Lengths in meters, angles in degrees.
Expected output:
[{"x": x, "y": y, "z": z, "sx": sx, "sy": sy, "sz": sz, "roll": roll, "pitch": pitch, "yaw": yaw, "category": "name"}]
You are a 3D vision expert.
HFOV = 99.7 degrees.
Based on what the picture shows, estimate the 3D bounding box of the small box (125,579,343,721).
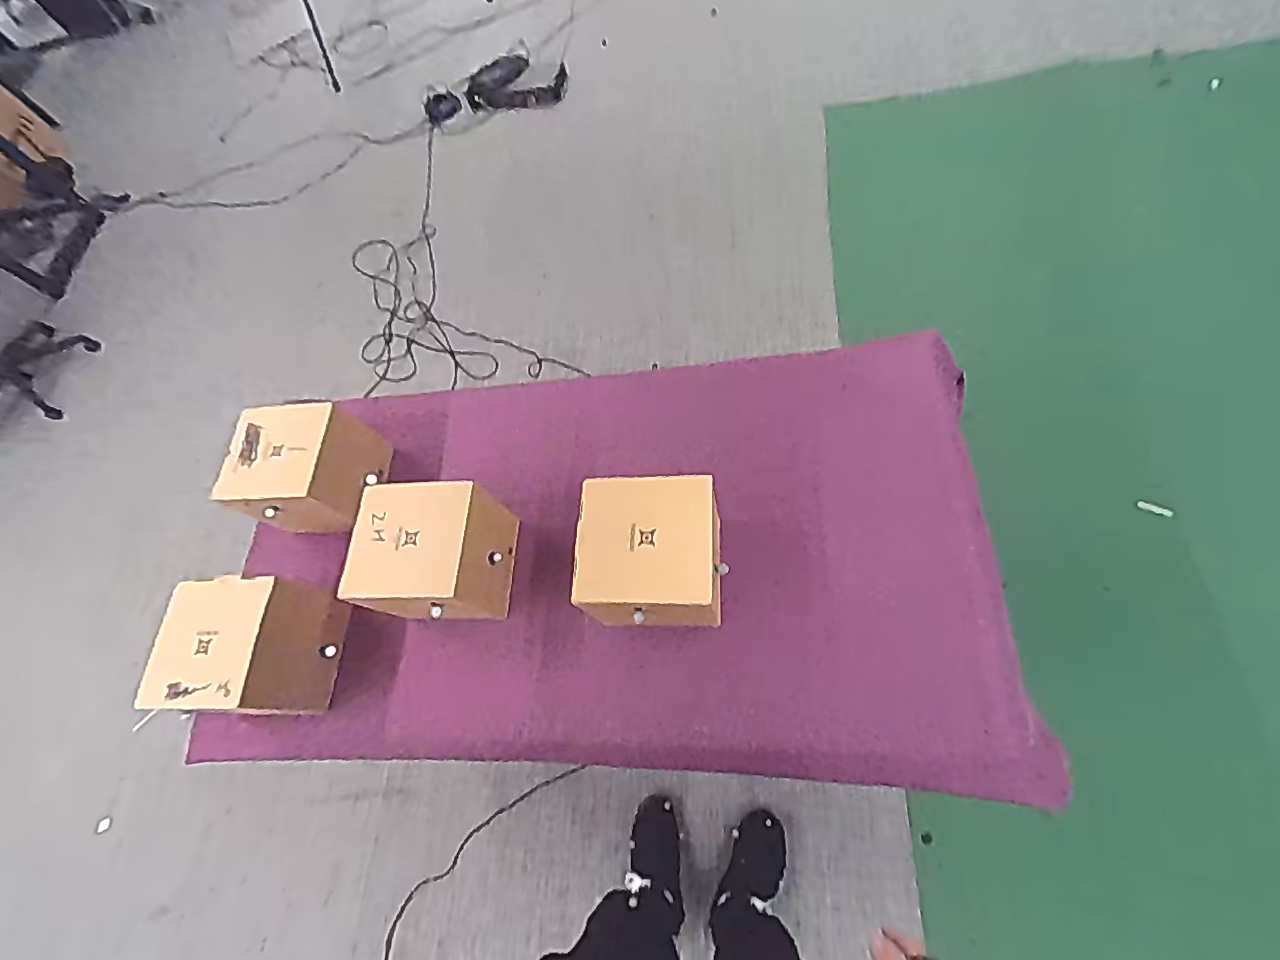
[{"x": -0.577, "y": 0.255, "z": 0.798, "sx": 0.168, "sy": 0.176, "sz": 0.179, "roll": -4, "pitch": 64, "yaw": 11, "category": "small box"}]

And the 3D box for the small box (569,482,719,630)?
[{"x": 0.018, "y": 0.110, "z": 0.742, "sx": 0.179, "sy": 0.176, "sz": 0.168, "roll": -2, "pitch": 67, "yaw": 12, "category": "small box"}]

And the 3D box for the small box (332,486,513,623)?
[{"x": -0.306, "y": 0.115, "z": 0.805, "sx": 0.179, "sy": 0.176, "sz": 0.168, "roll": -2, "pitch": 66, "yaw": 11, "category": "small box"}]

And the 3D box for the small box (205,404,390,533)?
[{"x": -0.565, "y": -0.012, "z": 0.916, "sx": 0.179, "sy": 0.176, "sz": 0.168, "roll": -2, "pitch": 67, "yaw": 10, "category": "small box"}]
